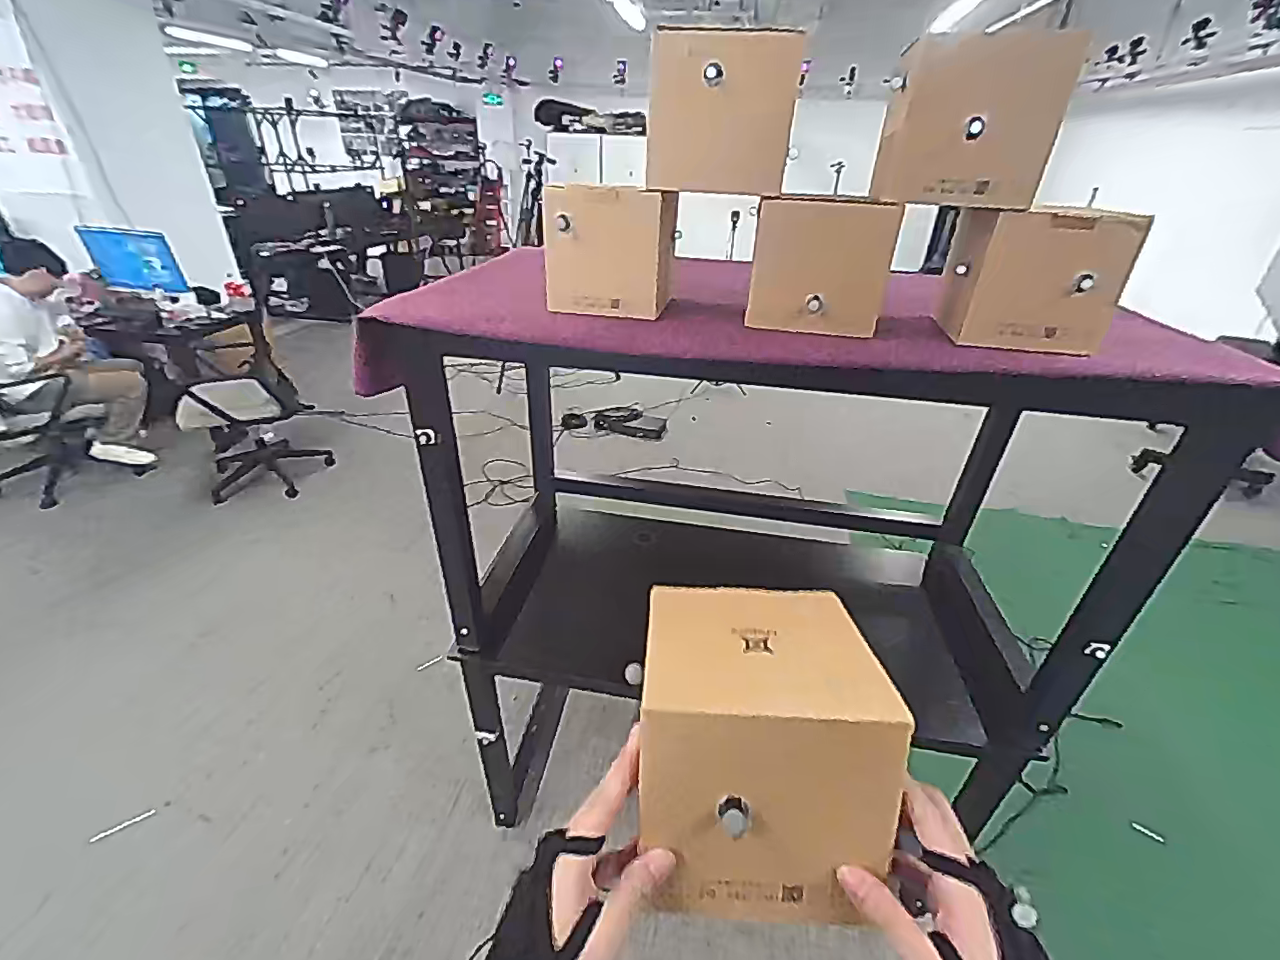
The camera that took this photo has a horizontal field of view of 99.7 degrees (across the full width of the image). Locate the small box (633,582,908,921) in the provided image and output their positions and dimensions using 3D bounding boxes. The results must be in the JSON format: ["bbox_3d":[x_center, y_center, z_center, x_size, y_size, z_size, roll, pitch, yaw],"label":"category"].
[{"bbox_3d":[0.085,0.192,0.419,0.168,0.176,0.179,1,13,4],"label":"small box"}]

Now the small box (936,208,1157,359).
[{"bbox_3d":[0.528,-0.272,0.736,0.168,0.176,0.179,9,30,12],"label":"small box"}]

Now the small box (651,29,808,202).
[{"bbox_3d":[0.115,-0.468,0.715,0.179,0.176,0.168,9,30,9],"label":"small box"}]

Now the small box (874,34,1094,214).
[{"bbox_3d":[0.404,-0.432,0.676,0.168,0.176,0.179,10,31,11],"label":"small box"}]
